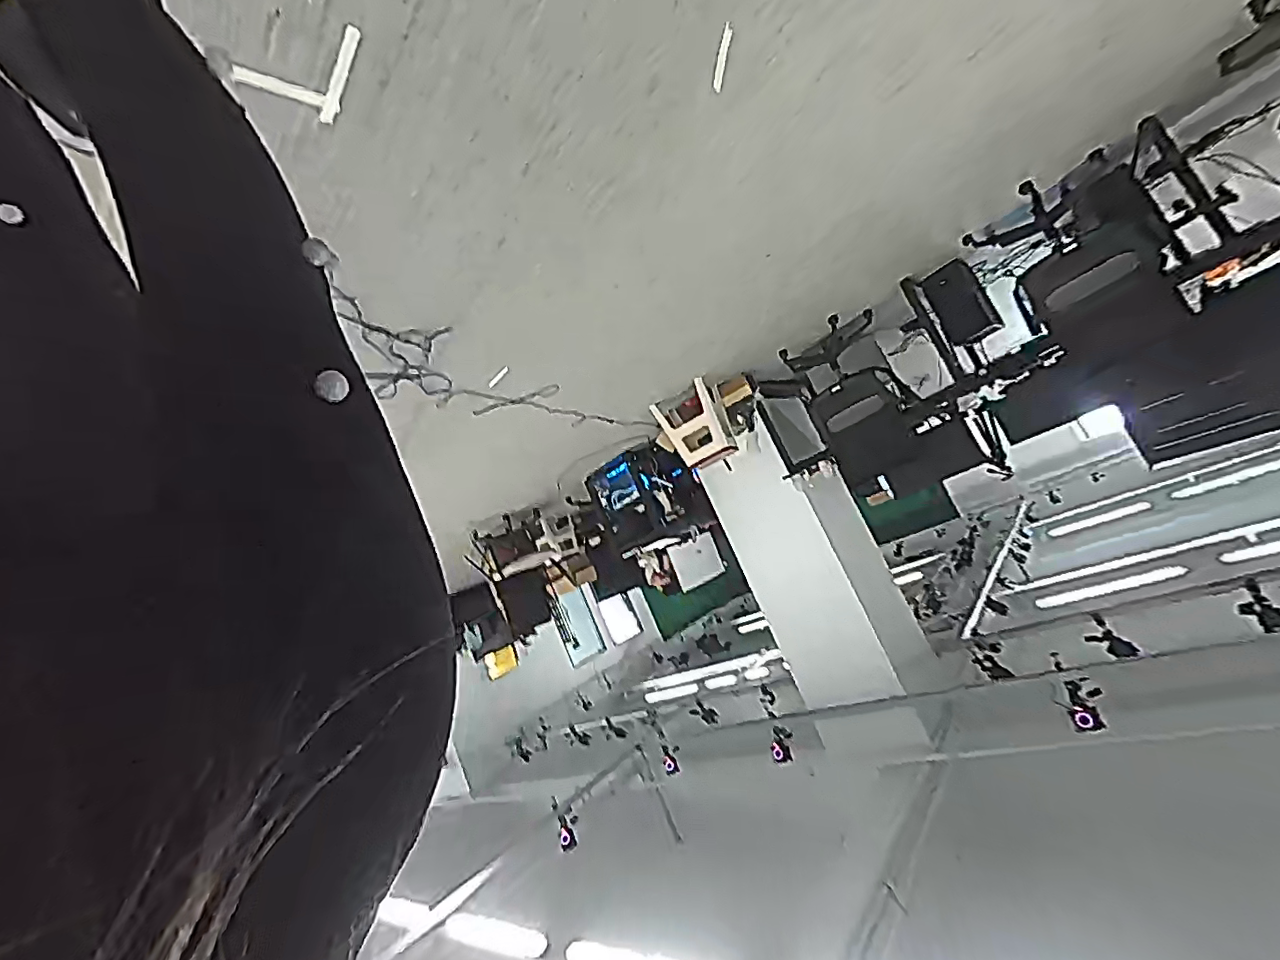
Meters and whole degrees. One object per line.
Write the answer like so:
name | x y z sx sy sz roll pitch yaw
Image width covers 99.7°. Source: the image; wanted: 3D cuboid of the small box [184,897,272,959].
small box | -1.288 1.443 1.685 0.179 0.176 0.168 -31 167 36
